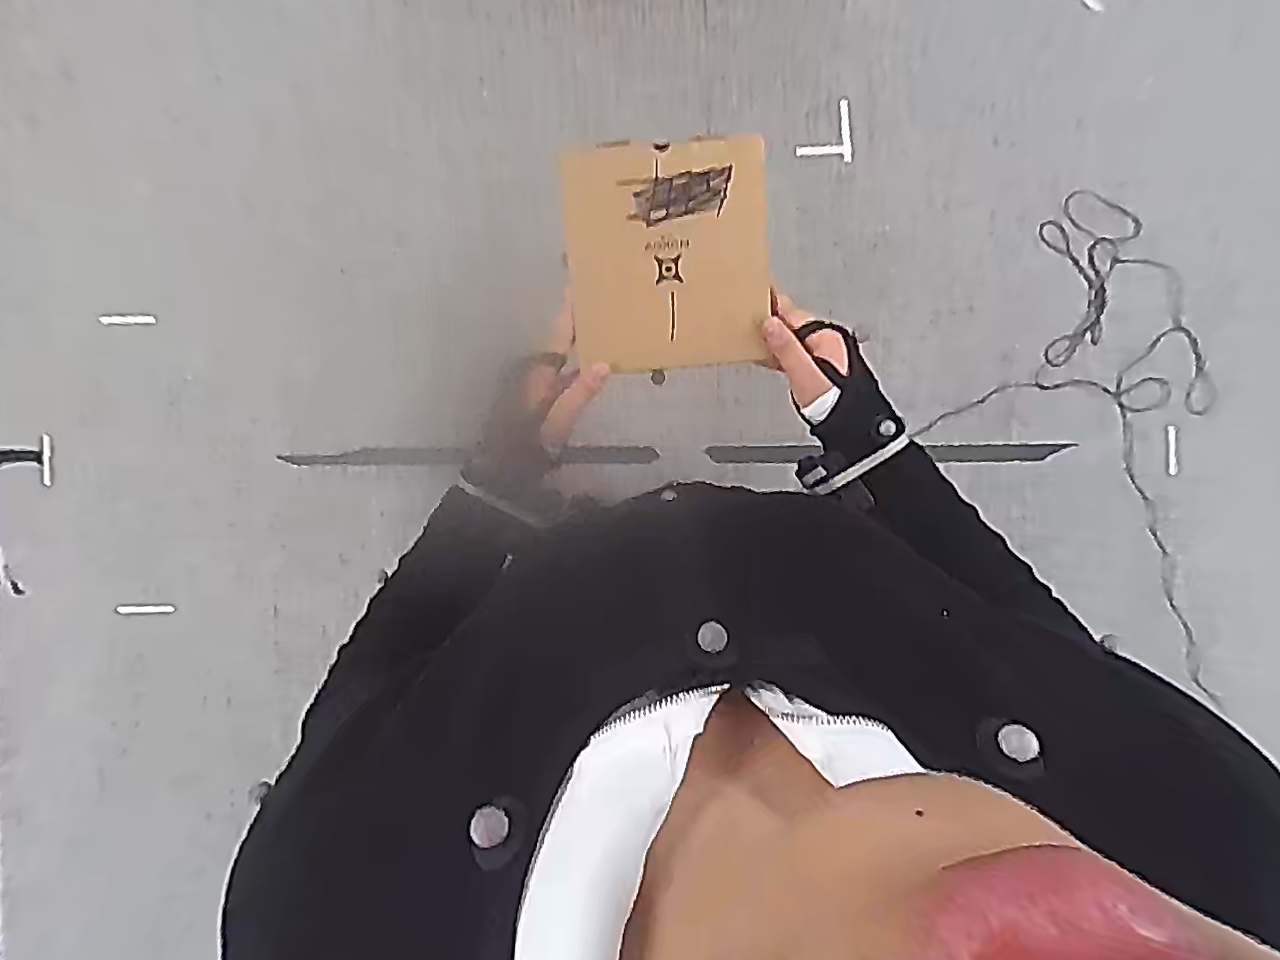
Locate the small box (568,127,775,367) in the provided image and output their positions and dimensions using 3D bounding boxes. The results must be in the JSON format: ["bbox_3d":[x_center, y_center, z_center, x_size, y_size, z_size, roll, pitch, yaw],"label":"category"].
[{"bbox_3d":[0.023,-0.203,0.516,0.168,0.176,0.179,-5,102,-2],"label":"small box"}]
